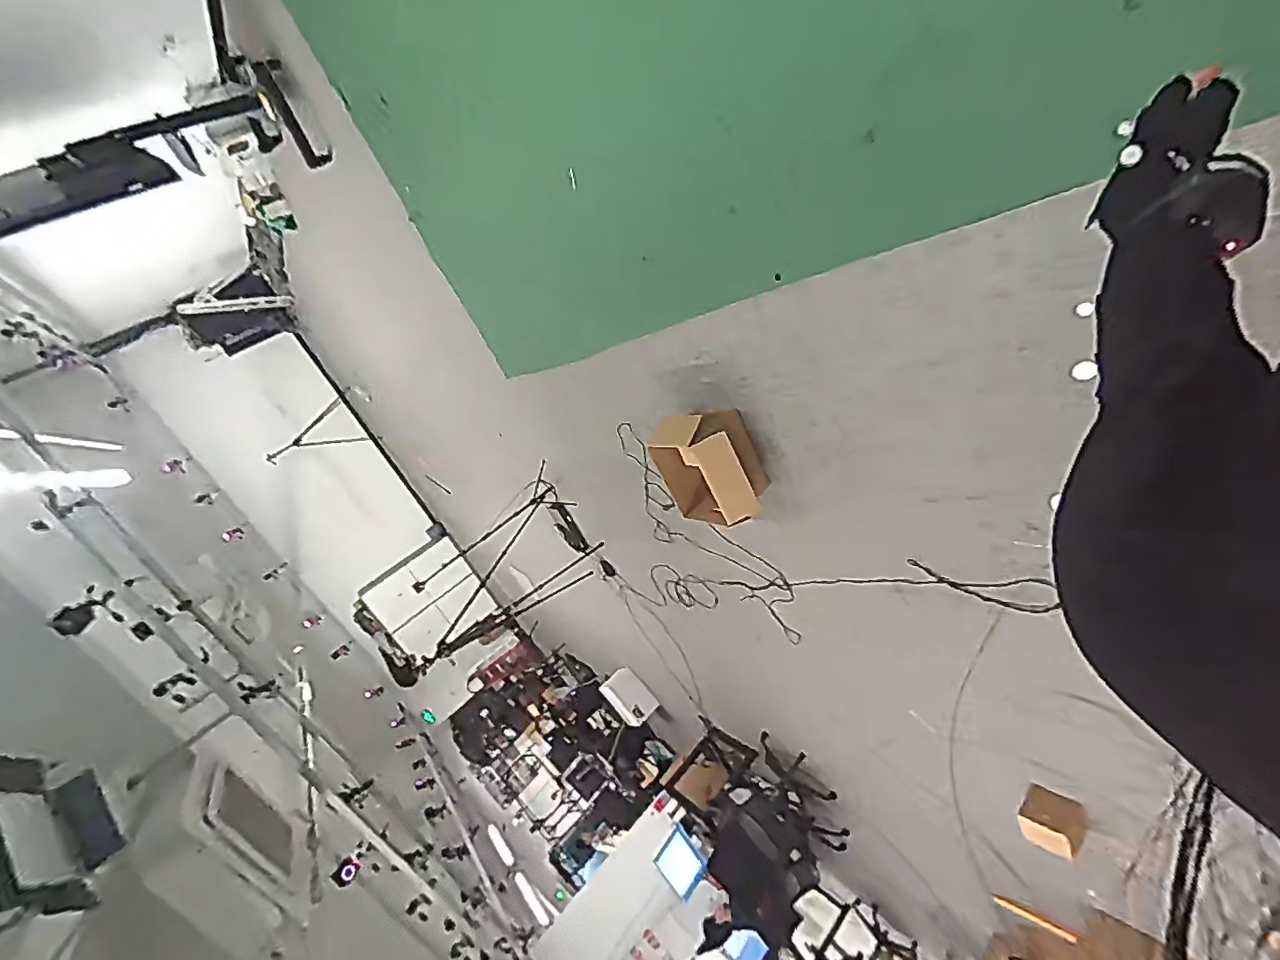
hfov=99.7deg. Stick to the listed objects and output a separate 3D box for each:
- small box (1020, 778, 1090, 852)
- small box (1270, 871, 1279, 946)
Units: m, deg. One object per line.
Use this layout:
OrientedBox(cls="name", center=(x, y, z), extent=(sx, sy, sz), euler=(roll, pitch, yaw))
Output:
OrientedBox(cls="small box", center=(1.732, 1.383, 2.253), extent=(0.179, 0.176, 0.168), euler=(0, 124, 57))
OrientedBox(cls="small box", center=(2.097, 1.374, 1.673), extent=(0.168, 0.176, 0.179), euler=(0, 125, 57))
